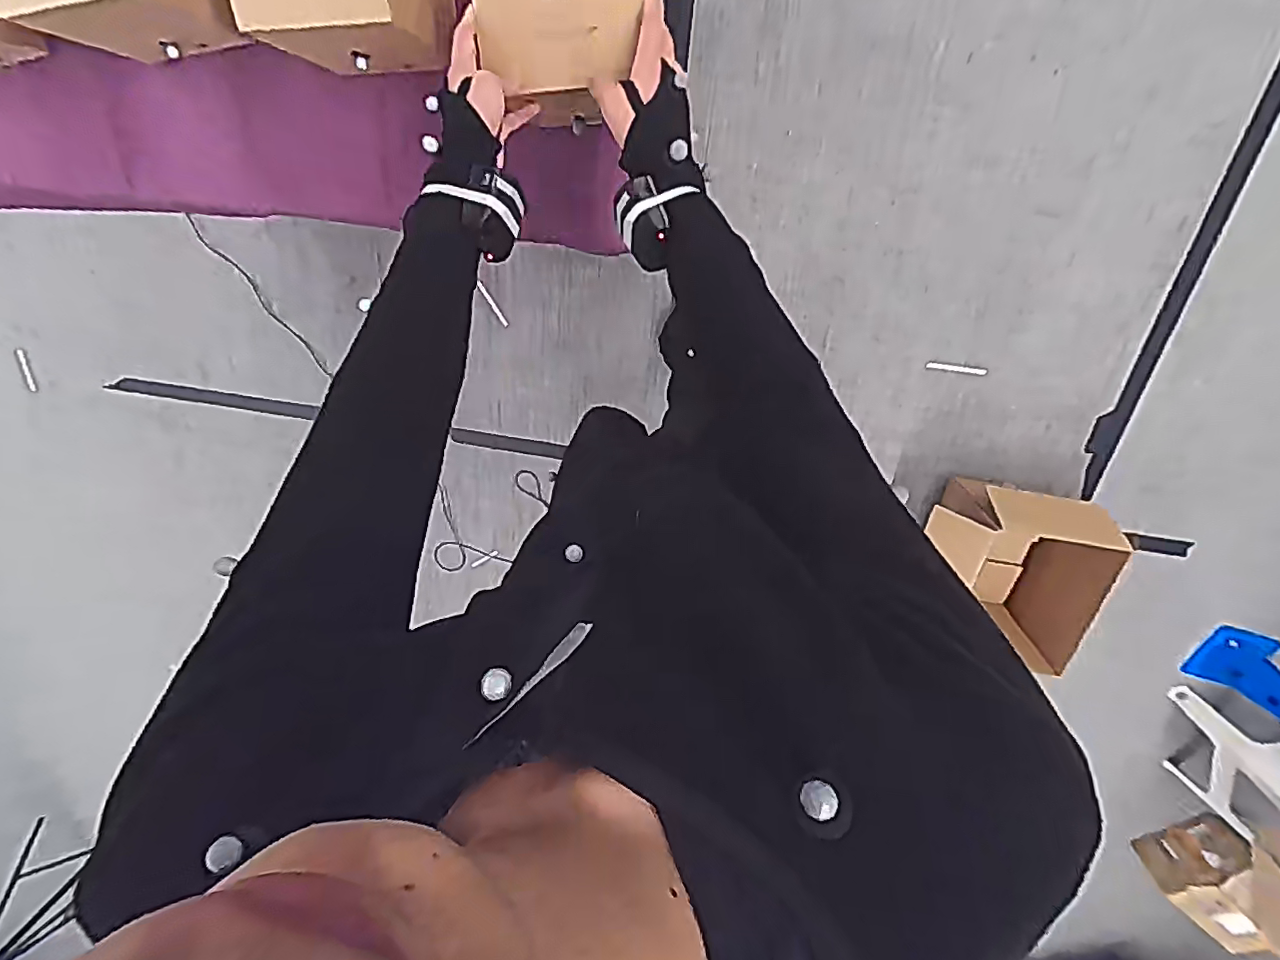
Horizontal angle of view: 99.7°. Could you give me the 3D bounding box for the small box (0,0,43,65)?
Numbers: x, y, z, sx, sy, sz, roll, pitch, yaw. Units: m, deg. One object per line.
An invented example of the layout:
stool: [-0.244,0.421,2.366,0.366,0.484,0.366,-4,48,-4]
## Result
small box: [-0.876,-0.601,0.616,0.168,0.176,0.179,-4,115,10]

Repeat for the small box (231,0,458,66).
small box: [-0.307,-0.554,0.562,0.168,0.176,0.179,2,115,6]

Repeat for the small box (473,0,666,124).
small box: [-0.064,-0.492,0.558,0.168,0.176,0.179,1,114,9]
